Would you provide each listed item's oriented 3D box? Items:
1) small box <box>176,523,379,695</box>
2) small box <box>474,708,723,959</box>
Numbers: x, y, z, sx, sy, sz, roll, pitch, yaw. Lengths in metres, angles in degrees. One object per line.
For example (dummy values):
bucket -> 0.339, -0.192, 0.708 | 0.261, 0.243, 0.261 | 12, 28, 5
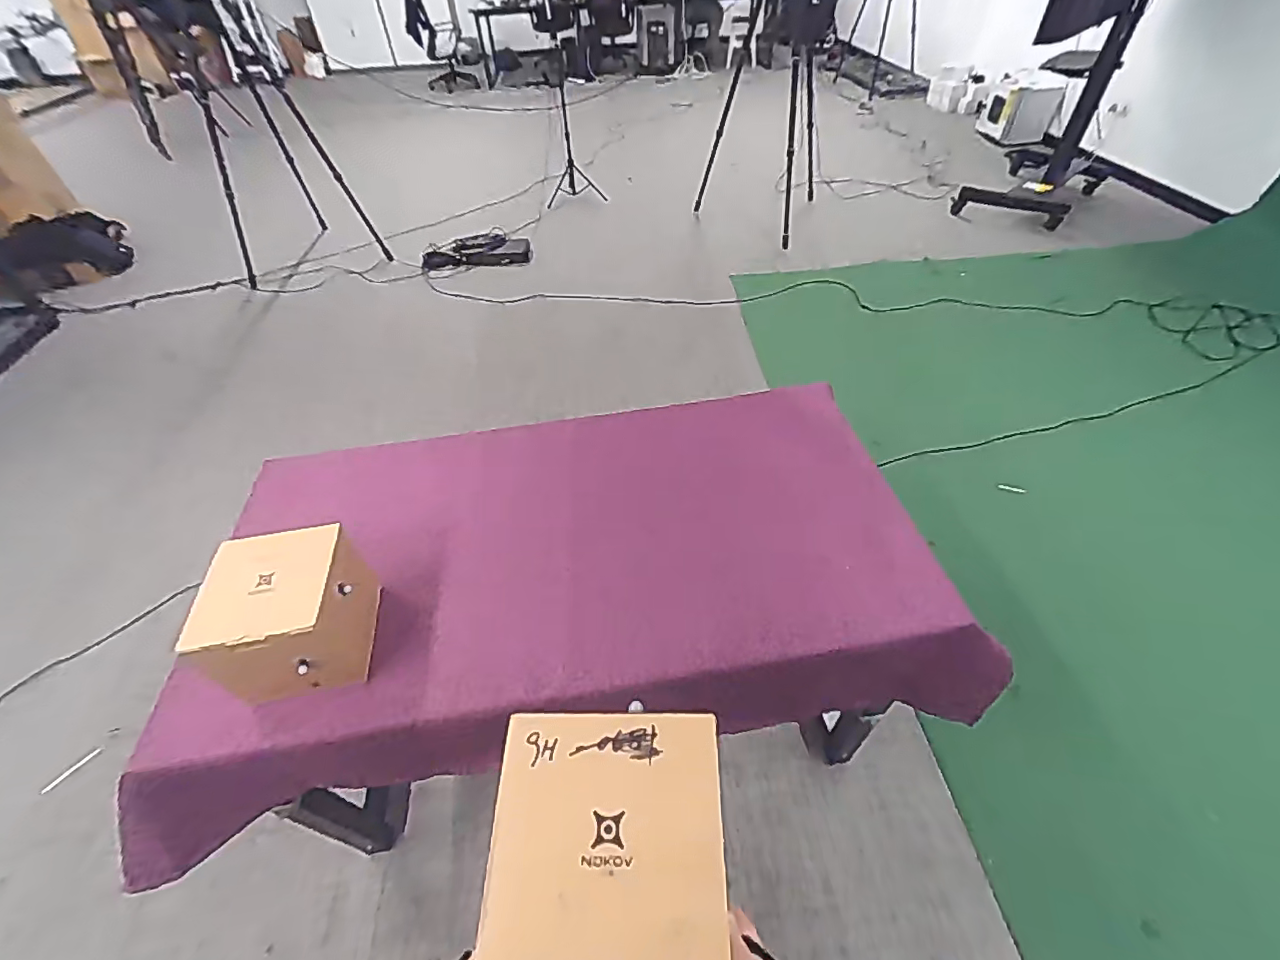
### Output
small box -> -0.498, 0.191, 0.779 | 0.168, 0.176, 0.179 | -8, 46, -6
small box -> -0.021, 0.302, 0.450 | 0.168, 0.176, 0.179 | 0, 54, 2
